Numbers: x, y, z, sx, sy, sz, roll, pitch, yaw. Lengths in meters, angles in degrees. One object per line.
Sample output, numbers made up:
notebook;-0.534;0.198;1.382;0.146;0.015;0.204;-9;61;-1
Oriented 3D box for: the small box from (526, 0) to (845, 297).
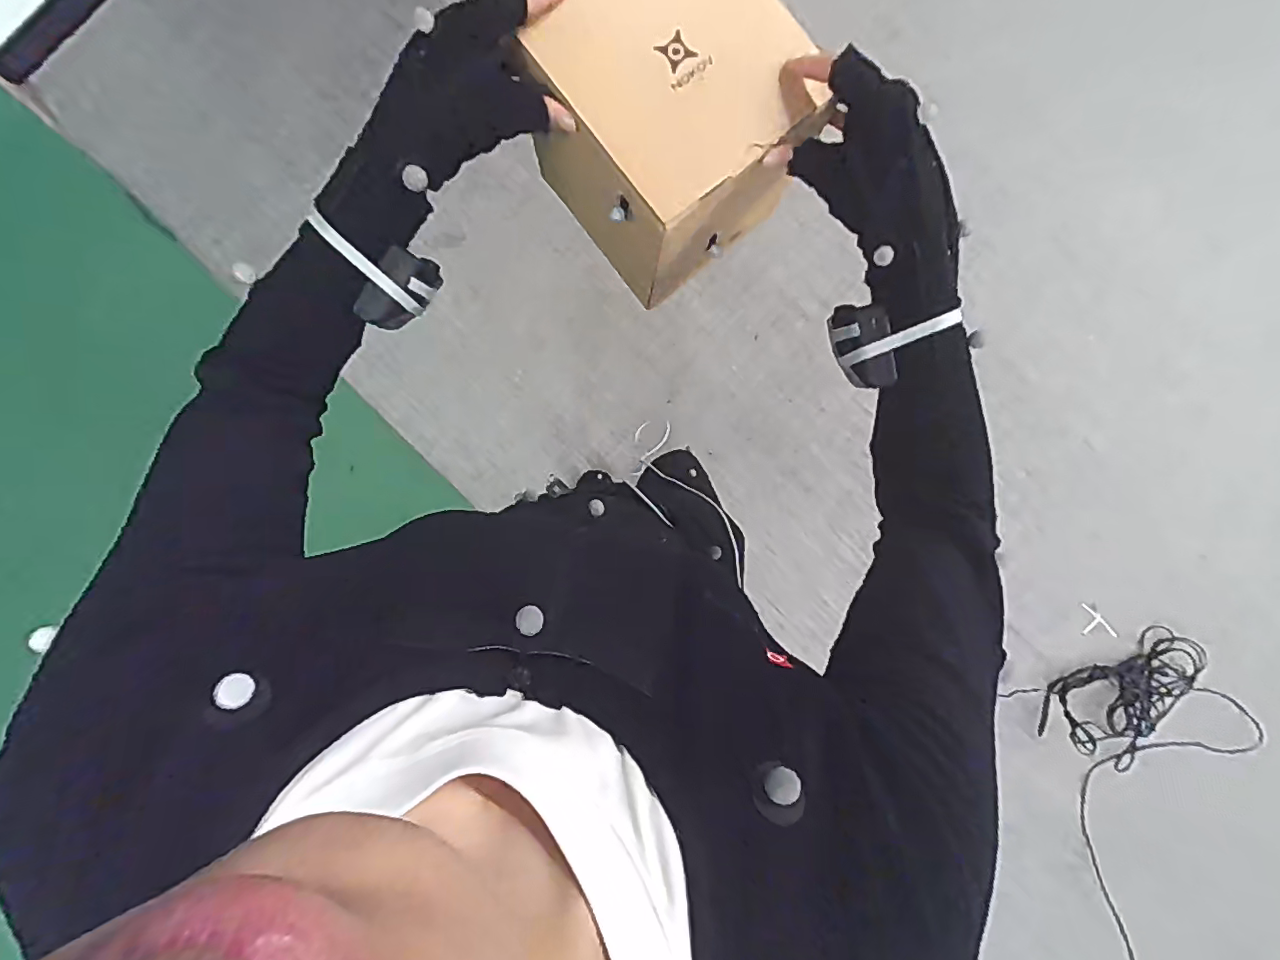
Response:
small box;0.027;-0.293;0.461;0.168;0.176;0.179;-38;92;-4
